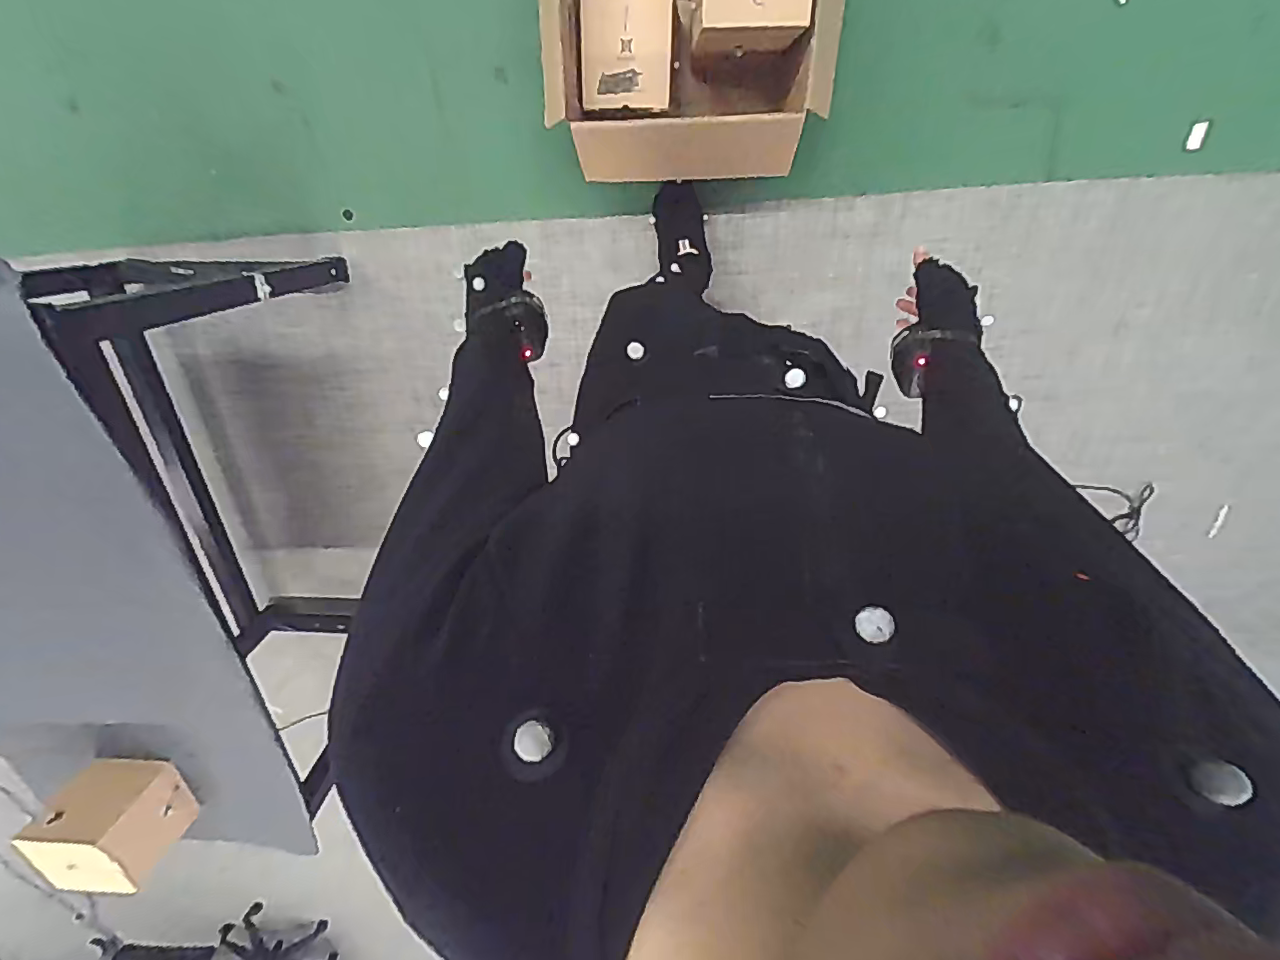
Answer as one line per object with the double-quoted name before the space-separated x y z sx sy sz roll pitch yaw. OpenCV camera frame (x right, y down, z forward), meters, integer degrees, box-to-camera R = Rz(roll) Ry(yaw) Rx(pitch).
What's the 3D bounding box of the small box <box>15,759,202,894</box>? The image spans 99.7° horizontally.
"small box" -1.053 0.690 1.089 0.179 0.176 0.168 0 117 4
